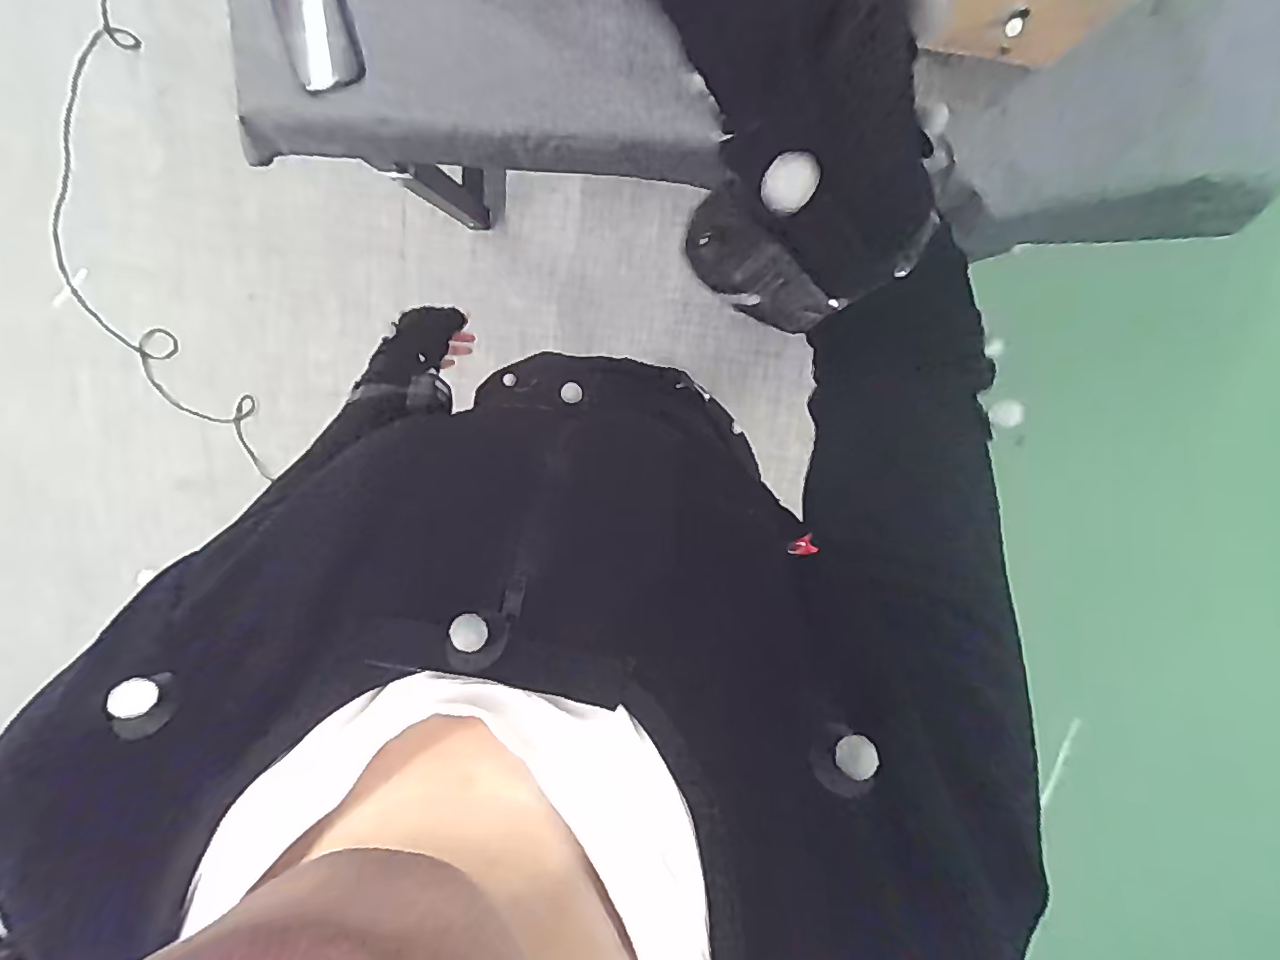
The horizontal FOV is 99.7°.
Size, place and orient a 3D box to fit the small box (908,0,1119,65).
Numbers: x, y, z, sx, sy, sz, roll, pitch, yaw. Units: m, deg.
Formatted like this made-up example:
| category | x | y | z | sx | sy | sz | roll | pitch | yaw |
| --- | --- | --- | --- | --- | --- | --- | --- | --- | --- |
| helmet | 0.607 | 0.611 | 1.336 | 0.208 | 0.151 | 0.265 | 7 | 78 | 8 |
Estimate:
| category | x | y | z | sx | sy | sz | roll | pitch | yaw |
| --- | --- | --- | --- | --- | --- | --- | --- | --- | --- |
| small box | 0.381 | -0.535 | 0.507 | 0.168 | 0.176 | 0.179 | 10 | 104 | 0 |
